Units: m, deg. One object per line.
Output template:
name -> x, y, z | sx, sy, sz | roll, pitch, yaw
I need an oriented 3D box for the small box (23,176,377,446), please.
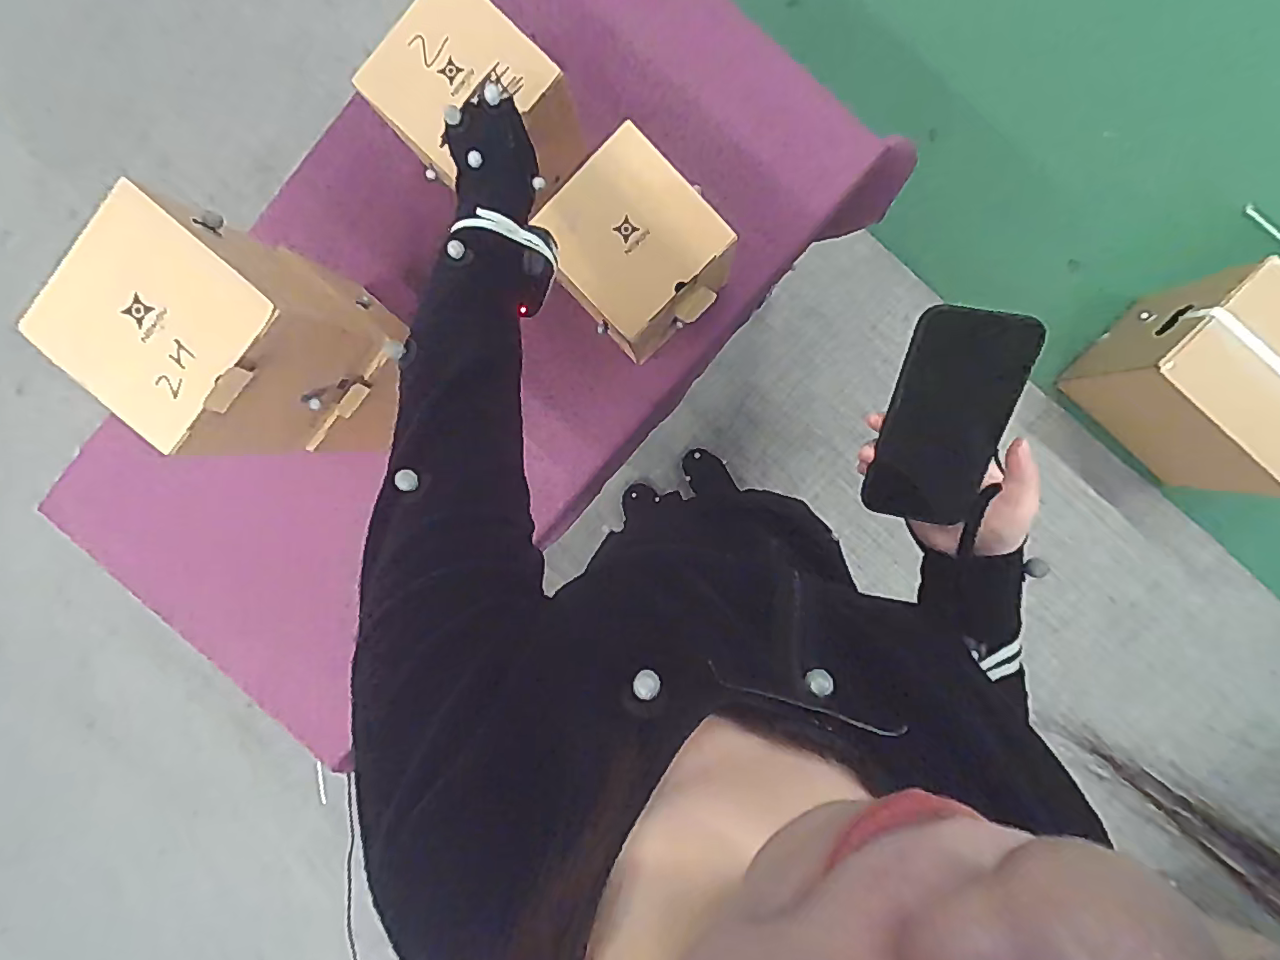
small box -> -0.414, -0.146, 0.540 | 0.179, 0.176, 0.168 | 41, 95, 0

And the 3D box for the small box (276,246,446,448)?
small box -> -0.390, -0.159, 0.703 | 0.179, 0.176, 0.168 | 41, 95, 1

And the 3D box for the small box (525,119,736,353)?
small box -> -0.008, -0.280, 0.669 | 0.168, 0.176, 0.179 | -43, 91, 6
